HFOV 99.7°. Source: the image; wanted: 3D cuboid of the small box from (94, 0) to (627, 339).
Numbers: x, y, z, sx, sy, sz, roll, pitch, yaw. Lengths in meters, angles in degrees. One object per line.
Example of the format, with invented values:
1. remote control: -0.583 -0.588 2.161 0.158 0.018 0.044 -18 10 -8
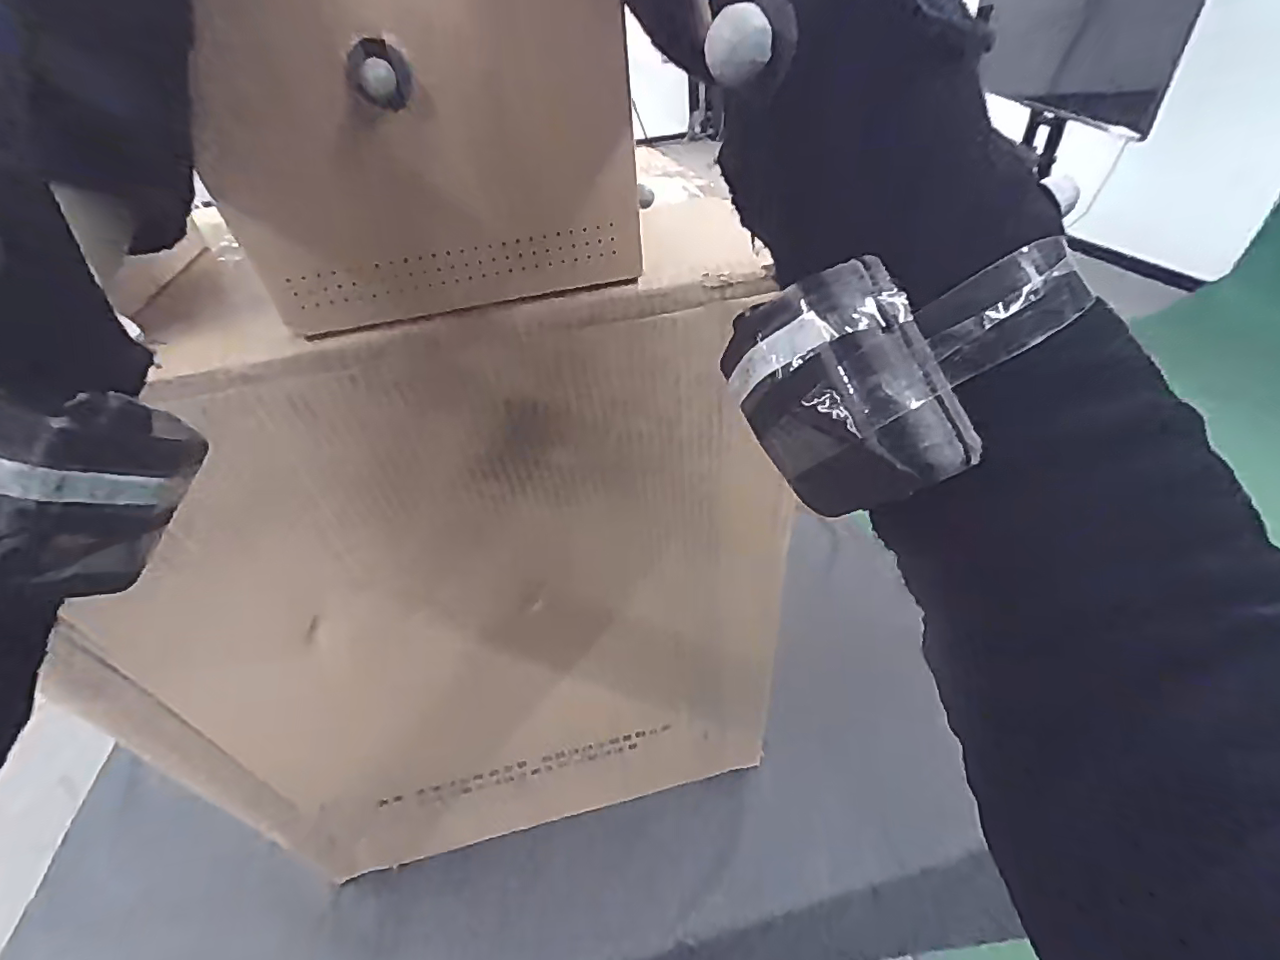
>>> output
1. small box: -0.107 -0.193 0.272 0.179 0.176 0.168 -13 42 -6
